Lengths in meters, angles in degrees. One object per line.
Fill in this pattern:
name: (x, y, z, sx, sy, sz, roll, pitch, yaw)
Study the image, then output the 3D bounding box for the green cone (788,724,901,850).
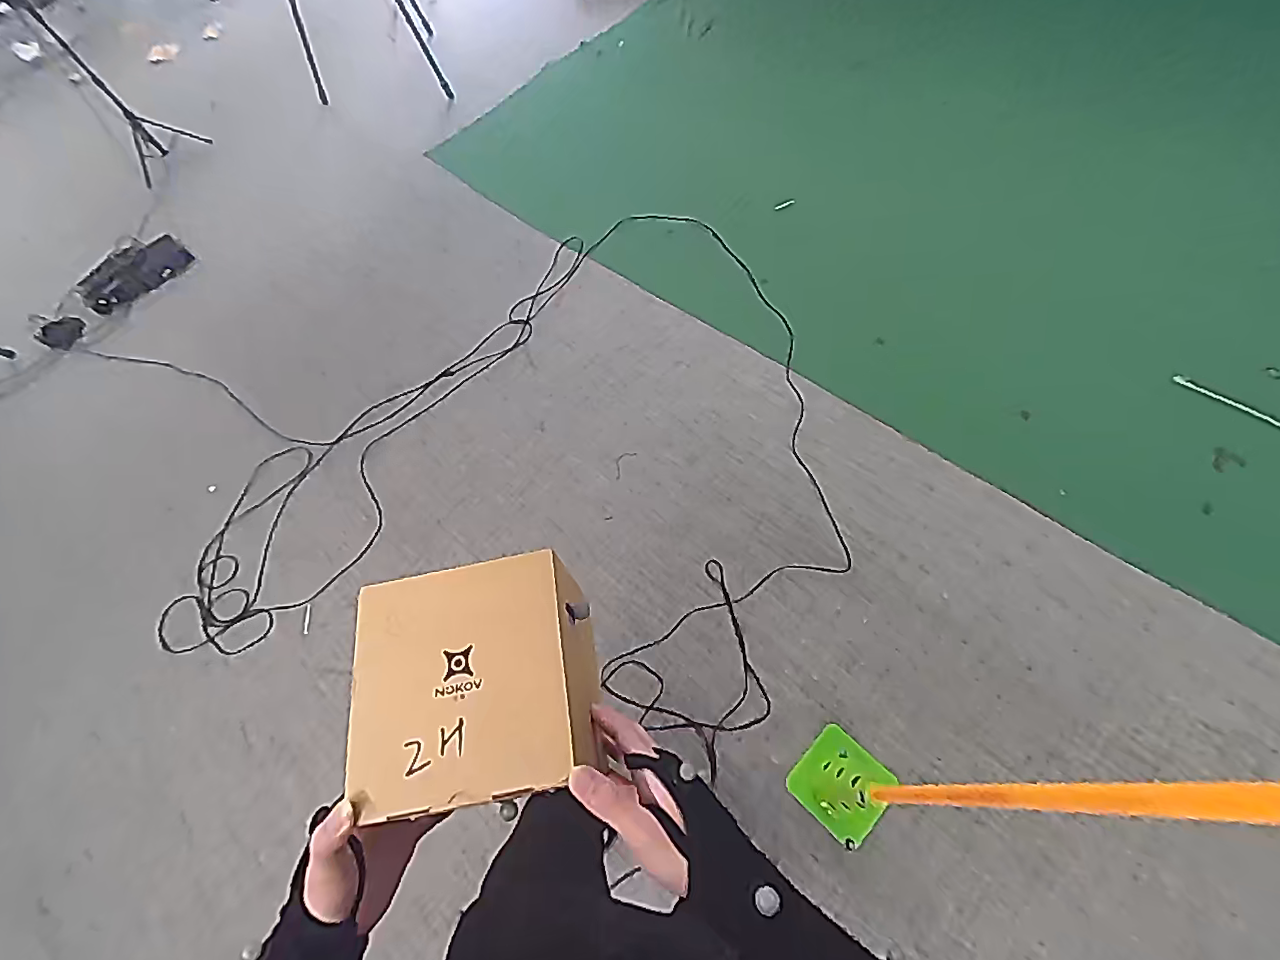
green cone: (0.458, 0.639, 1.128, 0.202, 0.368, 0.200, 38, 74, 25)
